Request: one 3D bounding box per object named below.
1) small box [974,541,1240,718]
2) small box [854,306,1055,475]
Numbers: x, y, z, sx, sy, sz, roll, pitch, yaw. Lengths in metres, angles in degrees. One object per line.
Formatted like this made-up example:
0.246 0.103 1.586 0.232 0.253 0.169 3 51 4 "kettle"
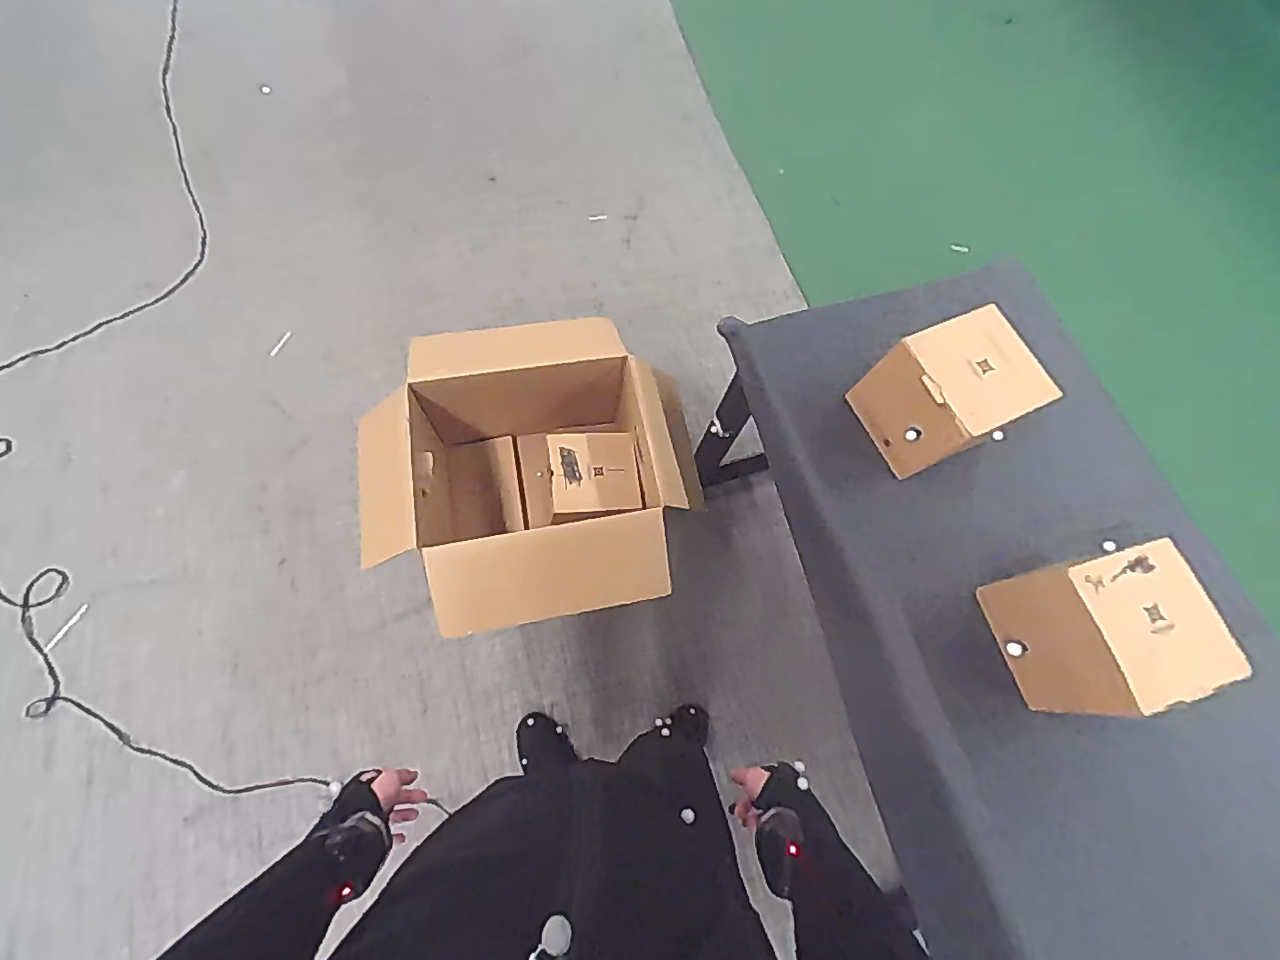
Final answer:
0.601 0.198 0.722 0.168 0.176 0.179 -12 73 -11 "small box"
0.458 -0.128 0.825 0.179 0.176 0.168 -22 76 -16 "small box"
